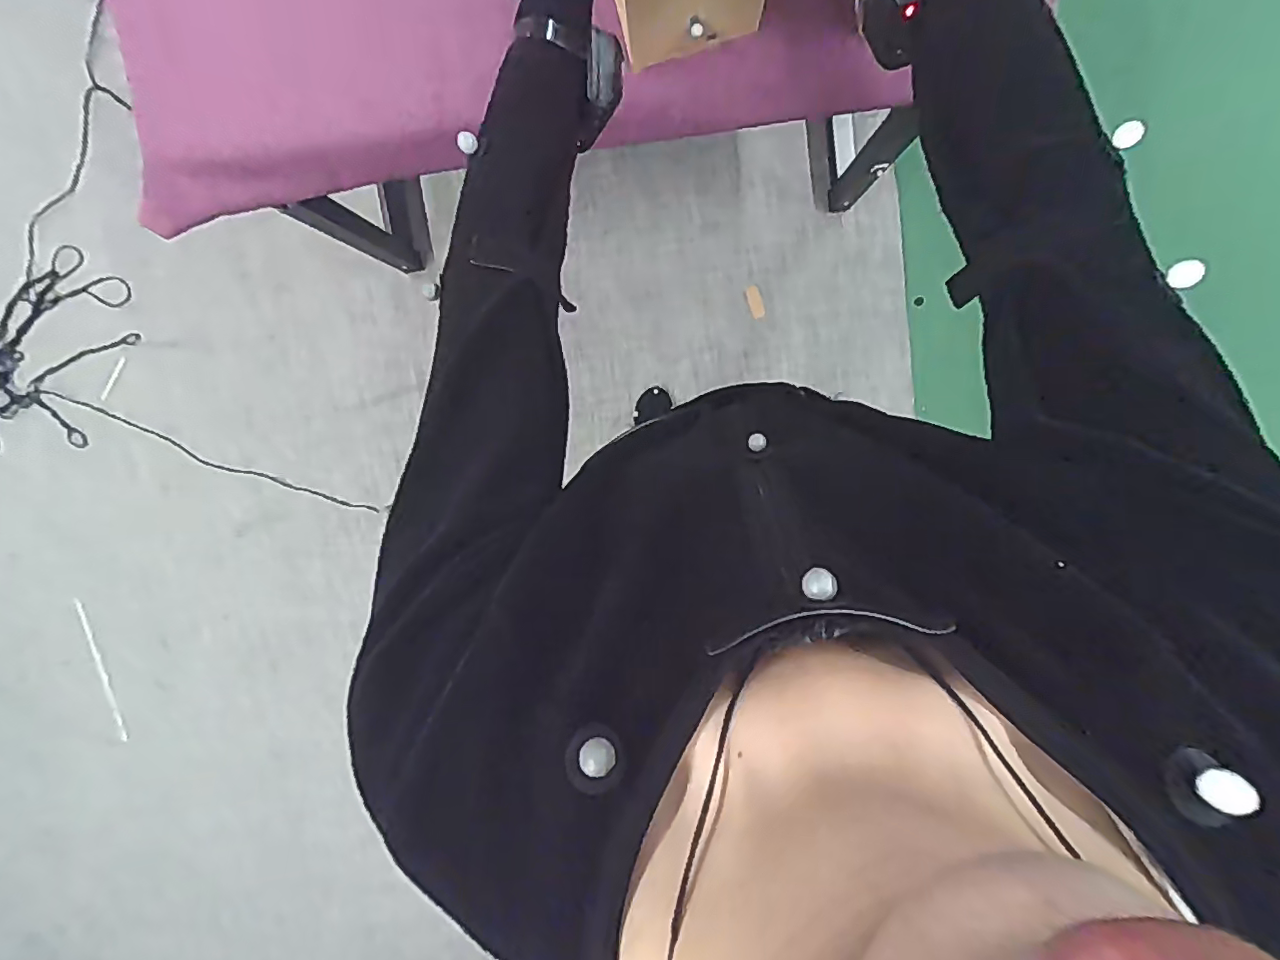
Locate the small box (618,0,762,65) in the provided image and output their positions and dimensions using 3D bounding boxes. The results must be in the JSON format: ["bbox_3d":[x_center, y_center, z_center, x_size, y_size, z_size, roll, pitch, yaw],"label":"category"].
[{"bbox_3d":[0.045,-0.622,0.602,0.168,0.176,0.179,-14,97,6],"label":"small box"}]

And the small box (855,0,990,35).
[{"bbox_3d":[0.342,-0.637,0.582,0.179,0.176,0.168,-11,97,5],"label":"small box"}]
